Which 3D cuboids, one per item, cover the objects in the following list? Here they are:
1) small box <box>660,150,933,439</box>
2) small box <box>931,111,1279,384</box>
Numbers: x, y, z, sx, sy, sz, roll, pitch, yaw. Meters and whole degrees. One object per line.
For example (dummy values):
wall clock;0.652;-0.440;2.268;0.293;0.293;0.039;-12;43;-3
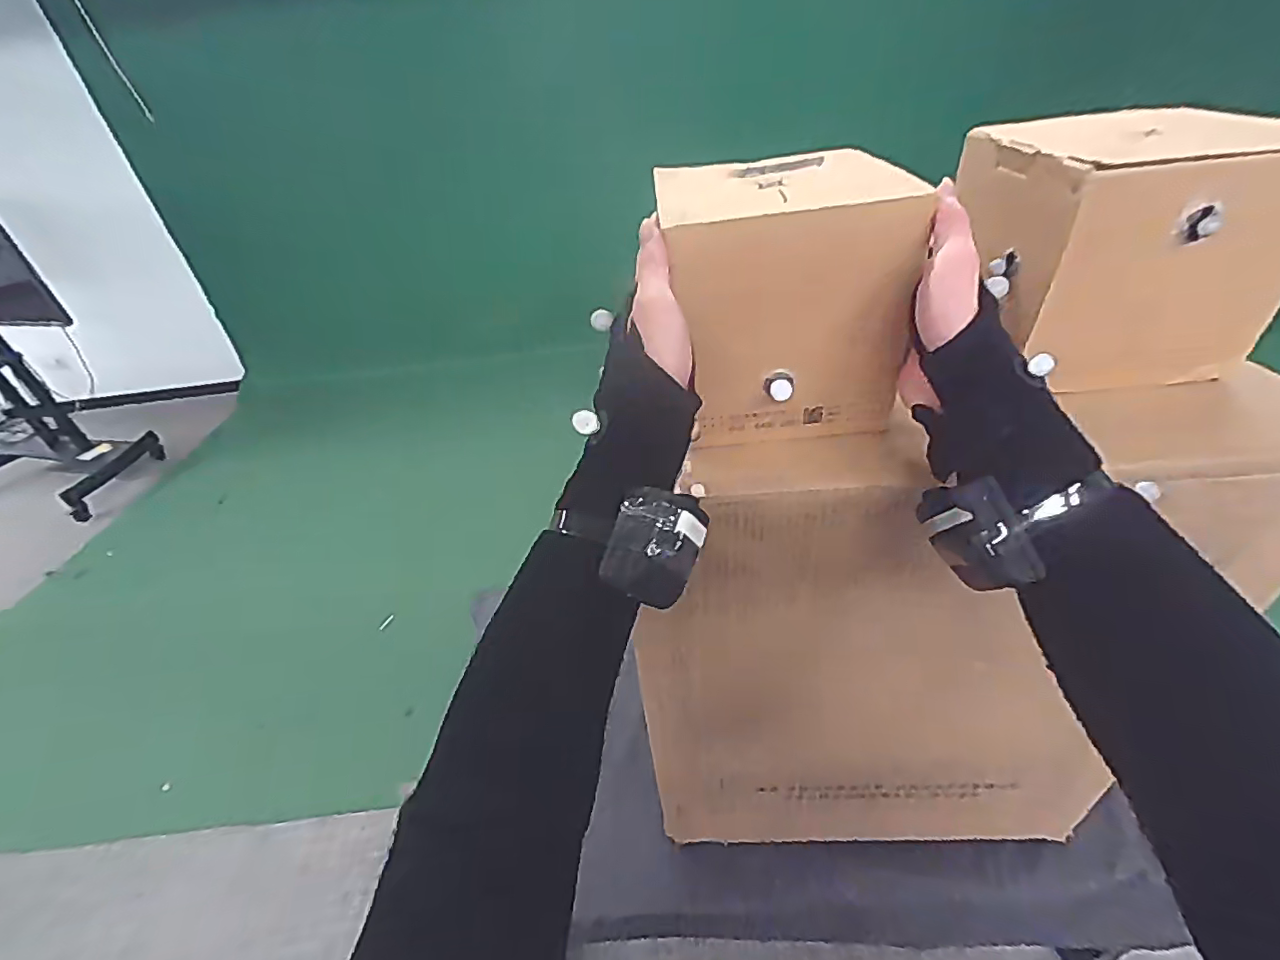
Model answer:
small box;0.103;-0.152;0.441;0.168;0.176;0.179;-5;39;4
small box;0.367;-0.190;0.446;0.179;0.176;0.168;-3;40;2
